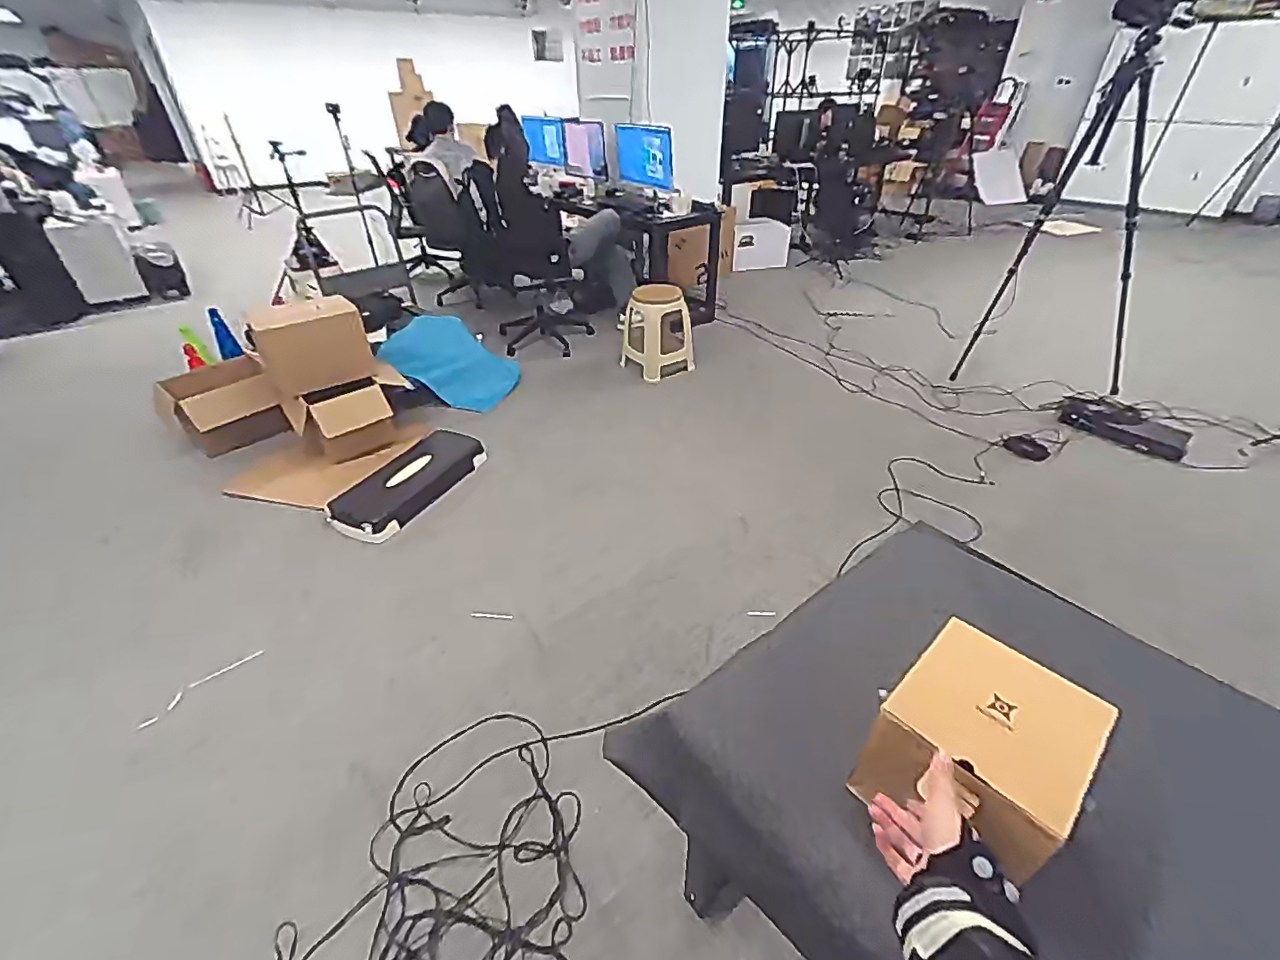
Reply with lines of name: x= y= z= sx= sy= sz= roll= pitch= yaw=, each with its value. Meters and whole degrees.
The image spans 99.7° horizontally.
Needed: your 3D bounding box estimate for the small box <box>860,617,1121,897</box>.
small box: x=0.367 y=0.294 z=0.590 sx=0.179 sy=0.176 sz=0.168 roll=-29 pitch=45 yaw=-33
